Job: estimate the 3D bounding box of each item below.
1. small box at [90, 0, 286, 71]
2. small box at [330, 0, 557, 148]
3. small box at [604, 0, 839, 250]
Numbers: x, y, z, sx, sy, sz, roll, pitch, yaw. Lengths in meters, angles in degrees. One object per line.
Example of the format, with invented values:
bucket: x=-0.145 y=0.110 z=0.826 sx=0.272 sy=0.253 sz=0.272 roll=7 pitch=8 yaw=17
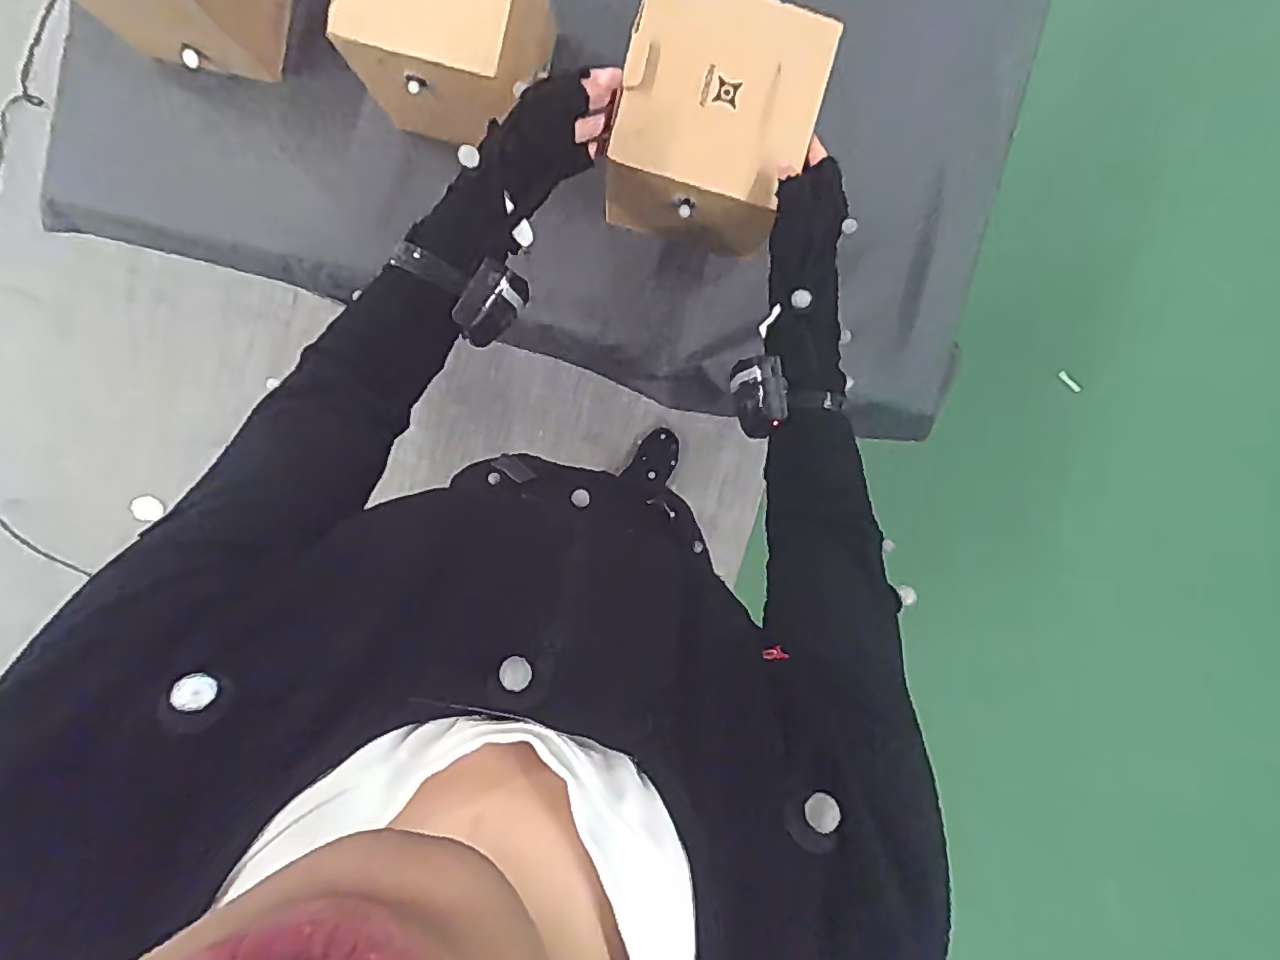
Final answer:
small box: x=-0.528 y=-0.607 z=0.607 sx=0.179 sy=0.176 sz=0.168 roll=11 pitch=95 yaw=-2
small box: x=-0.206 y=-0.515 z=0.613 sx=0.179 sy=0.176 sz=0.168 roll=14 pitch=95 yaw=-1
small box: x=0.066 y=-0.355 z=0.552 sx=0.179 sy=0.176 sz=0.168 roll=14 pitch=98 yaw=-6
